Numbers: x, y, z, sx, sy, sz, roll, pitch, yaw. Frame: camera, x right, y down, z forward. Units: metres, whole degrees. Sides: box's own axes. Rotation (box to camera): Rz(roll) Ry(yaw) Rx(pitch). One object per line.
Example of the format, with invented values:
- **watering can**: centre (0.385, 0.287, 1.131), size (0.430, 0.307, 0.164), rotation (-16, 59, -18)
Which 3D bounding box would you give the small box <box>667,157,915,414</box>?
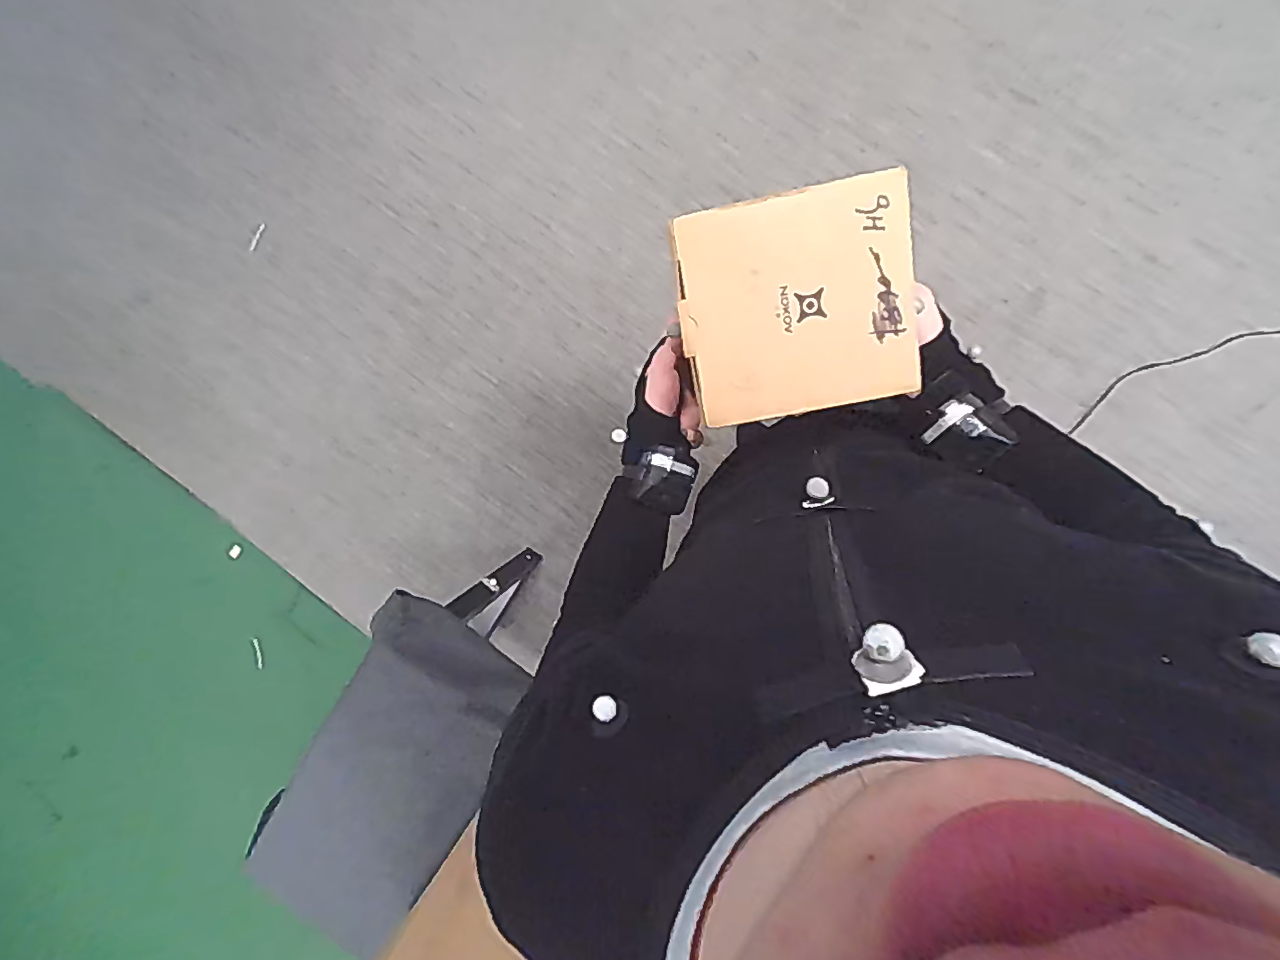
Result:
- **small box**: centre (0.126, -0.164, 0.497), size (0.179, 0.176, 0.168), rotation (-9, 105, 7)
